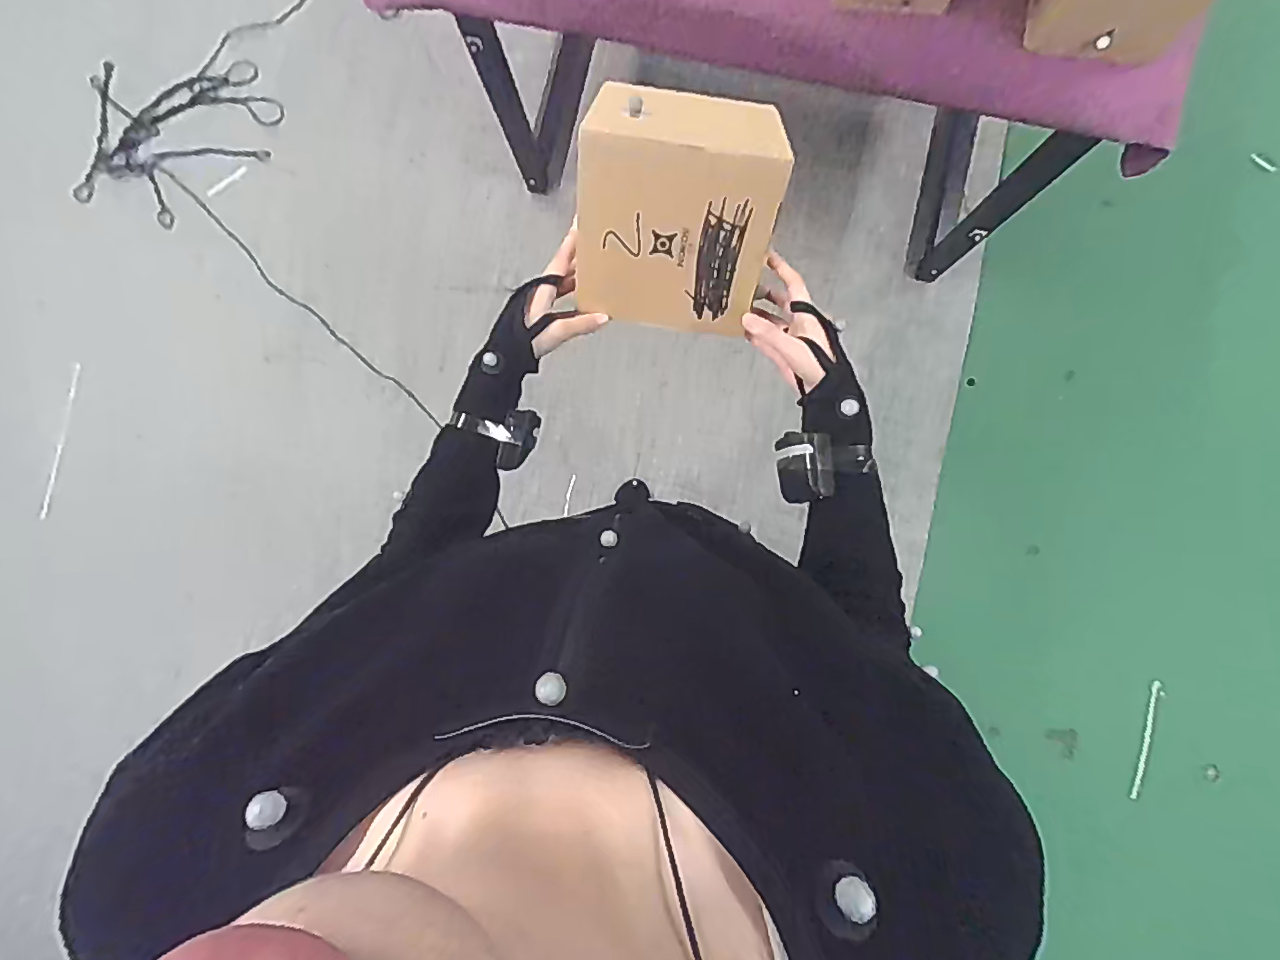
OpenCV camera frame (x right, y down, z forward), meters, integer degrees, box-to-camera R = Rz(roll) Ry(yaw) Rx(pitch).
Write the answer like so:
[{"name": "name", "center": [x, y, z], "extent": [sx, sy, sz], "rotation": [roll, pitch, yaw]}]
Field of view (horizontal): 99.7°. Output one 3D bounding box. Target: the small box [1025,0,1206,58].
[{"name": "small box", "center": [0.656, -0.702, 0.708], "extent": [0.179, 0.176, 0.168], "rotation": [9, 88, 4]}]

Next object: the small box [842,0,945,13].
[{"name": "small box", "center": [0.373, -0.791, 0.728], "extent": [0.168, 0.176, 0.179], "rotation": [7, 87, 4]}]
